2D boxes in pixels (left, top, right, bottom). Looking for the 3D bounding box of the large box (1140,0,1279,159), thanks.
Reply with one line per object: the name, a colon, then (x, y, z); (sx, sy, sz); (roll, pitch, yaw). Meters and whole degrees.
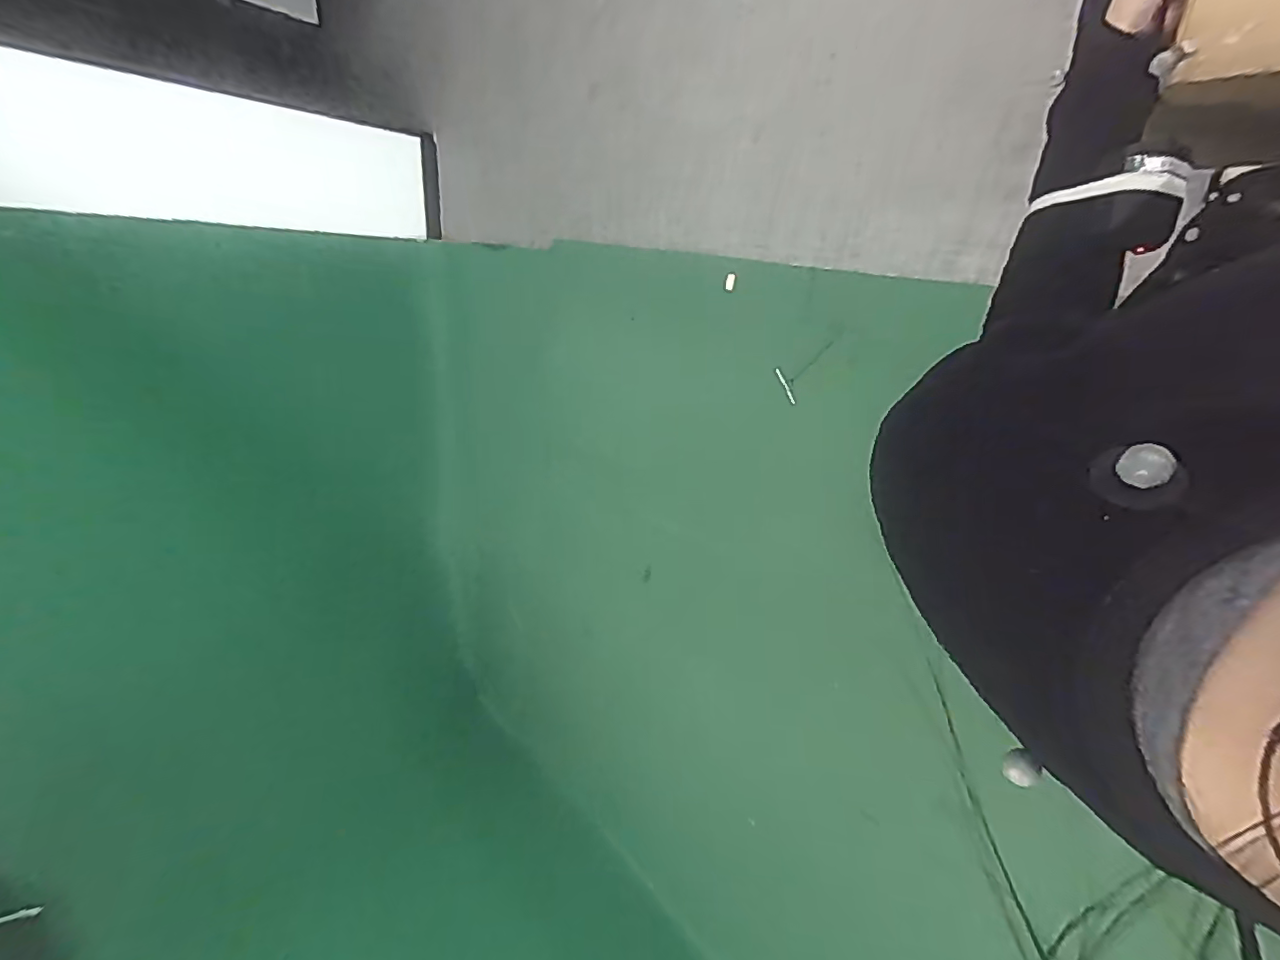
large box: (0.604, -0.401, 0.307); (0.408, 0.320, 0.320); (17, 114, 35)
